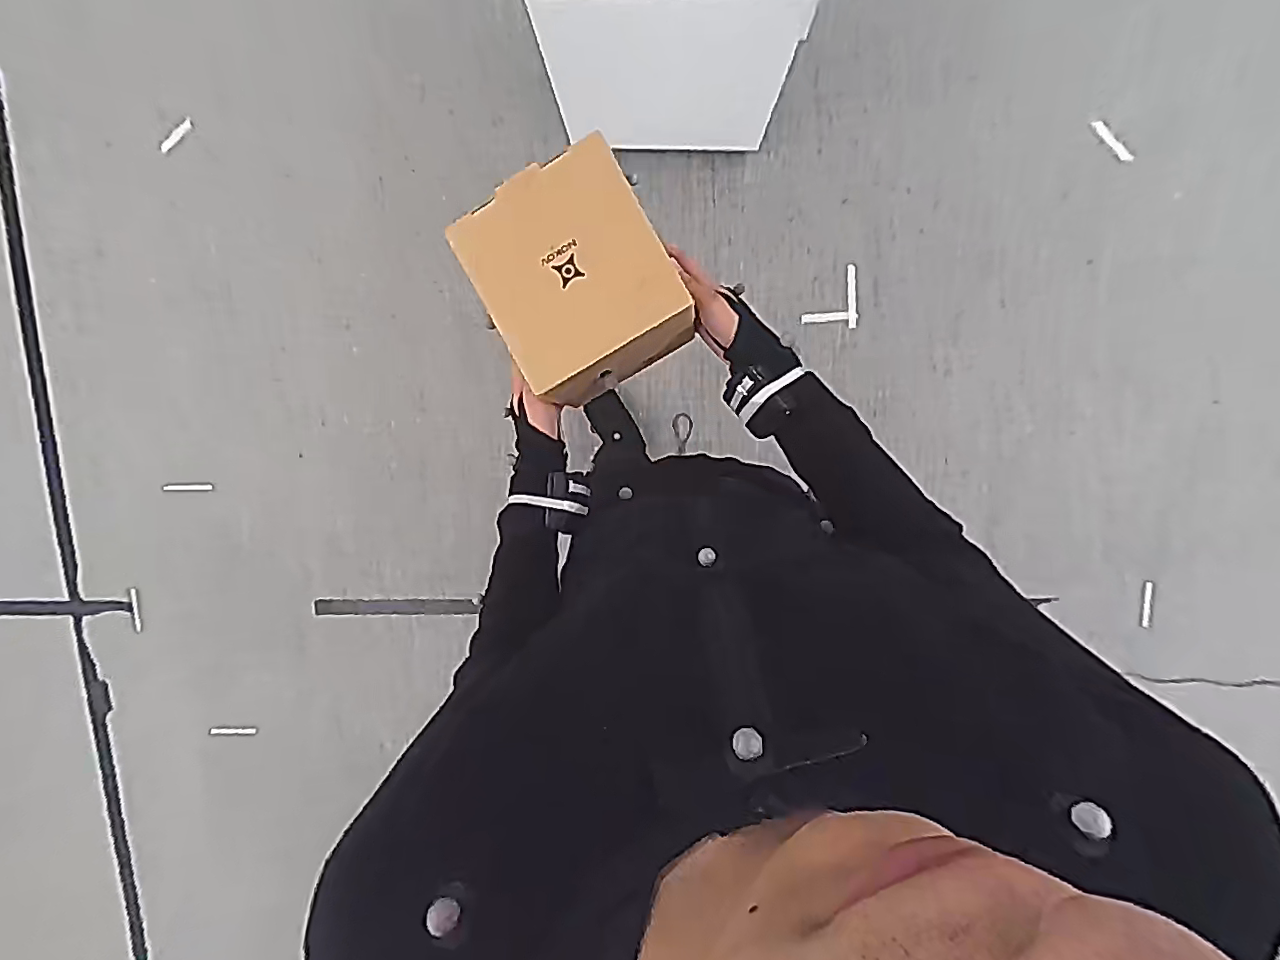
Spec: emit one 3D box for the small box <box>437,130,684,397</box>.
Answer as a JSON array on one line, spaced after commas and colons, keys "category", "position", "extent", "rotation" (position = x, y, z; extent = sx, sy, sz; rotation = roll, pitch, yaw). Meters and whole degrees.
[{"category": "small box", "position": [-0.063, -0.197, 0.558], "extent": [0.168, 0.176, 0.179], "rotation": [-30, 89, 7]}]
